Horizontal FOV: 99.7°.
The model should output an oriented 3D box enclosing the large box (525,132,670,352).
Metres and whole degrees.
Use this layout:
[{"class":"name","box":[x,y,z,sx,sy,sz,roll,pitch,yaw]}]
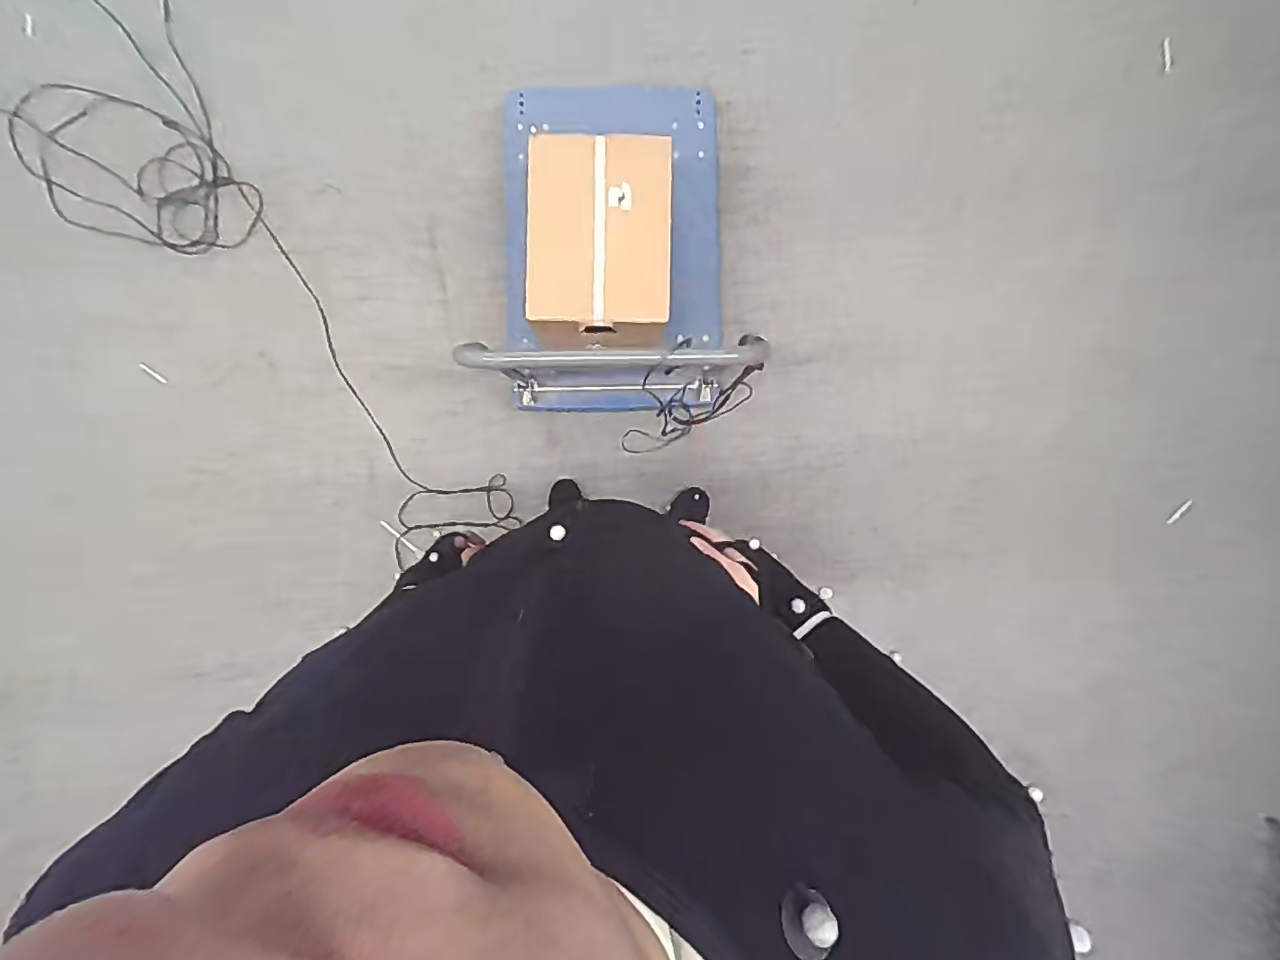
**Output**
[{"class":"large box","box":[-0.092,-0.541,1.305,0.320,0.320,0.408,1,90,-2]}]
